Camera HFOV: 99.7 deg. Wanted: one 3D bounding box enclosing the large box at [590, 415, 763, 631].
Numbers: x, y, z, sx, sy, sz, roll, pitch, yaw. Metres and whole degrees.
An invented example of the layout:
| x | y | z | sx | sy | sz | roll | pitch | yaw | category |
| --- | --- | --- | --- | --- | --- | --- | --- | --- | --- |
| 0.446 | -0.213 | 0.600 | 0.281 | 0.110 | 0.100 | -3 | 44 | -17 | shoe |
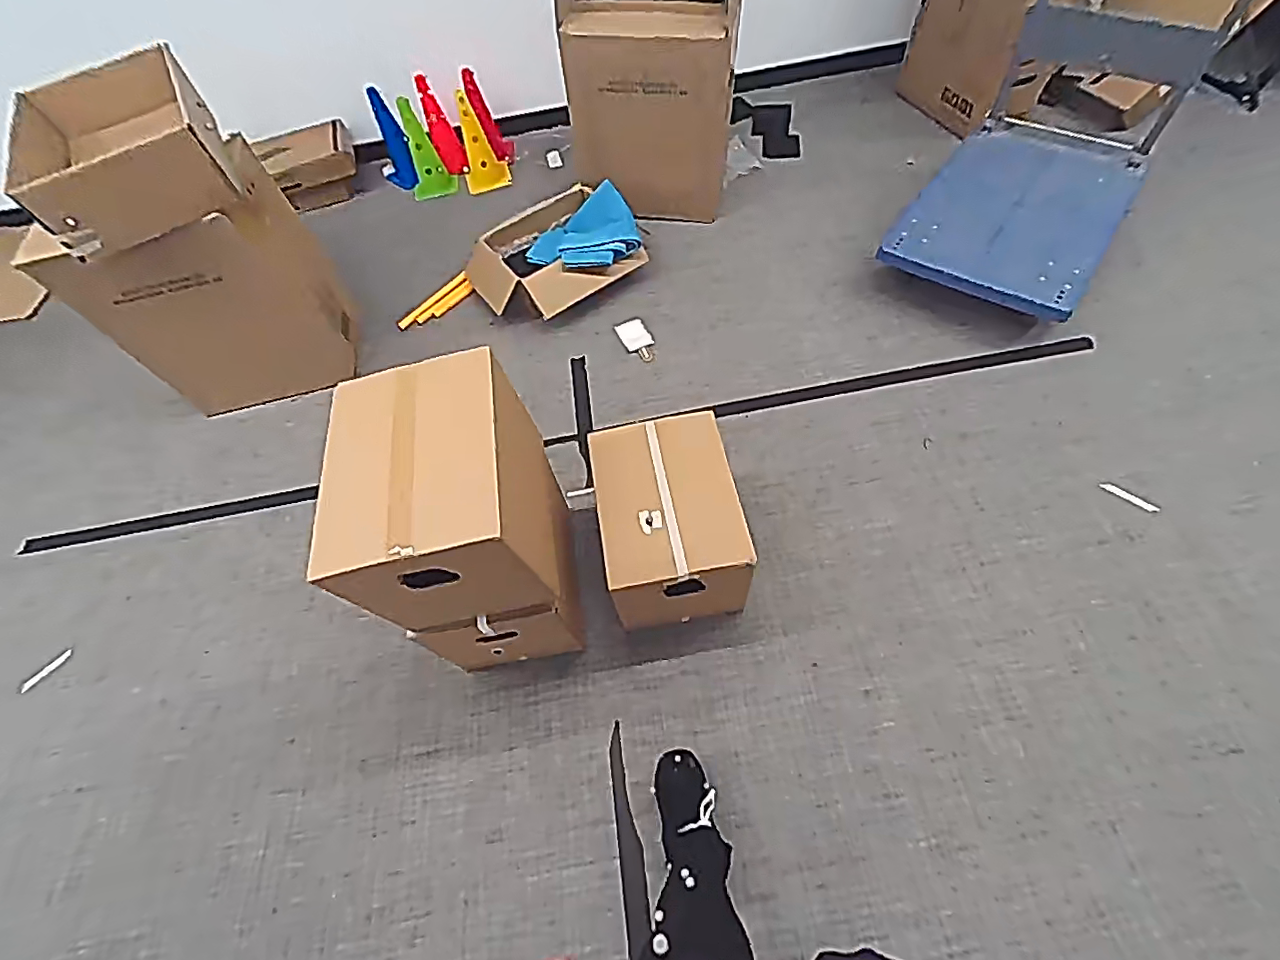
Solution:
| x | y | z | sx | sy | sz | roll | pitch | yaw | category |
| --- | --- | --- | --- | --- | --- | --- | --- | --- | --- |
| 0.077 | 0.111 | 1.327 | 0.320 | 0.320 | 0.408 | -12 | 59 | 0 | large box |
